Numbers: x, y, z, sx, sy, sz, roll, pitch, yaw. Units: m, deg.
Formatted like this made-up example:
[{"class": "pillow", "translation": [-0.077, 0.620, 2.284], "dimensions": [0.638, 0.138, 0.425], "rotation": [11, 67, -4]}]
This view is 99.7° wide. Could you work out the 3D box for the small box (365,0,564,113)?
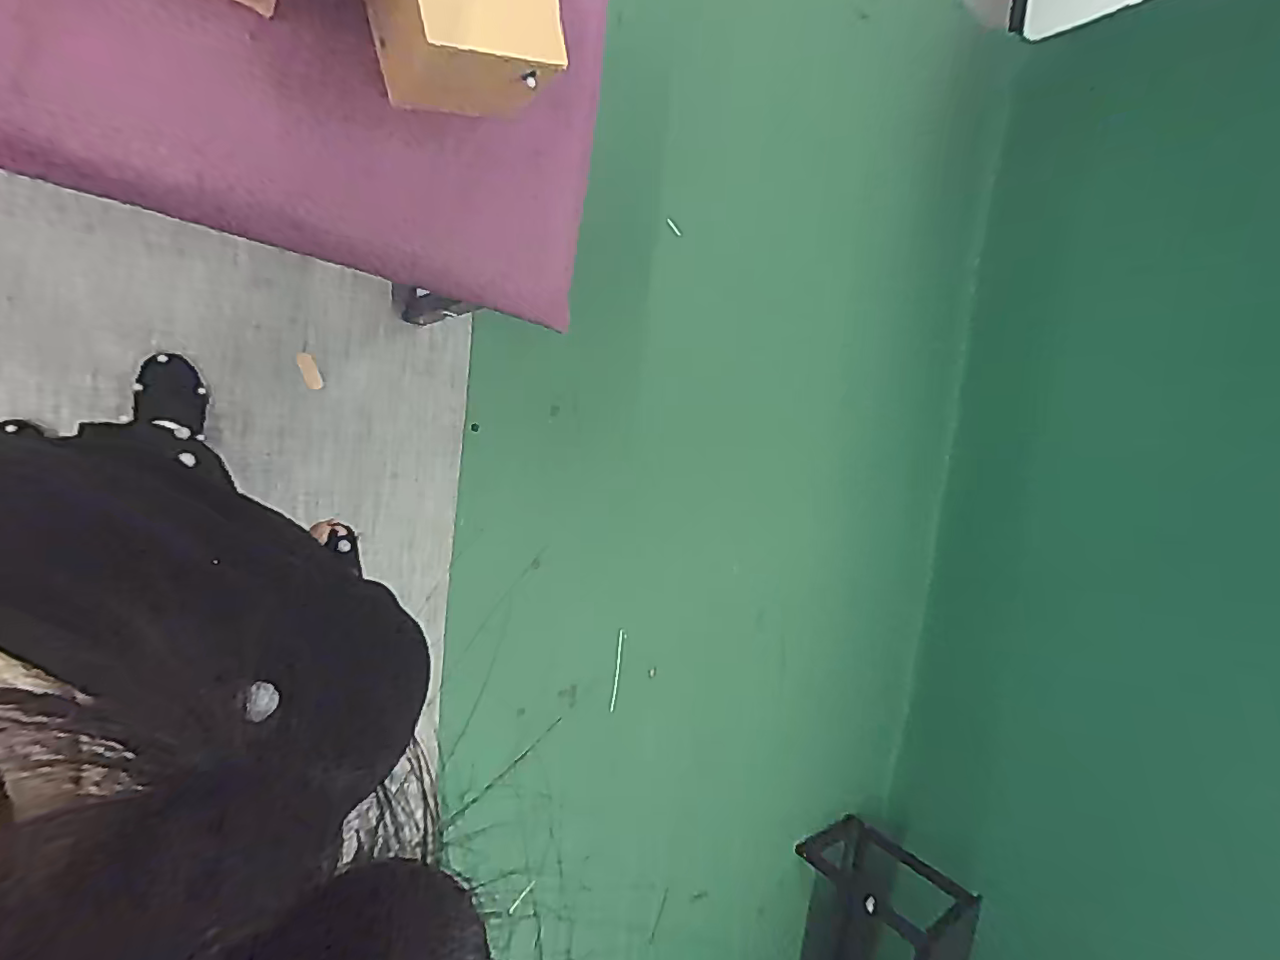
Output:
[{"class": "small box", "translation": [-0.218, -0.564, 0.642], "dimensions": [0.179, 0.176, 0.168], "rotation": [-20, 110, -35]}]
